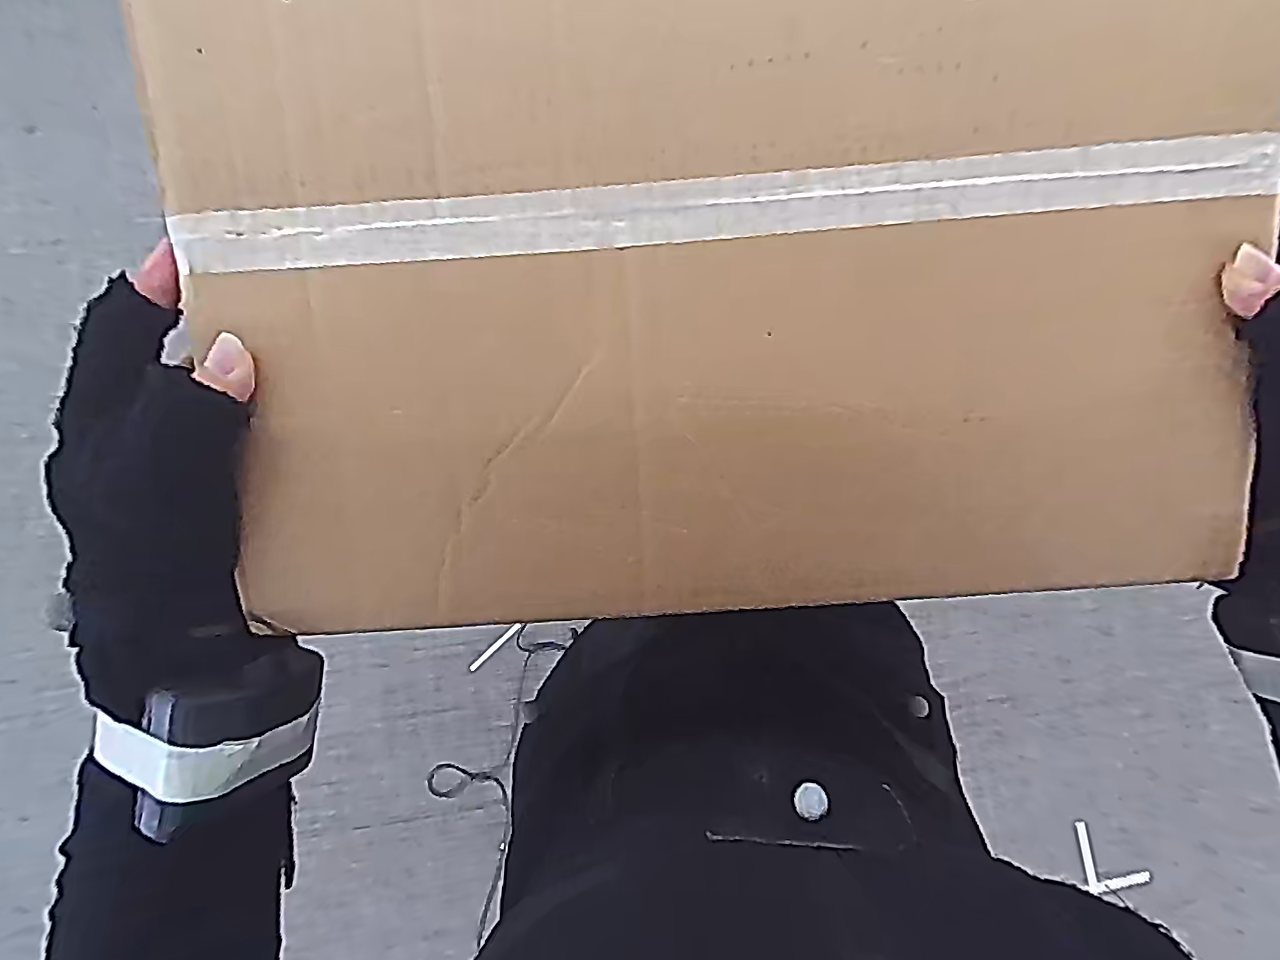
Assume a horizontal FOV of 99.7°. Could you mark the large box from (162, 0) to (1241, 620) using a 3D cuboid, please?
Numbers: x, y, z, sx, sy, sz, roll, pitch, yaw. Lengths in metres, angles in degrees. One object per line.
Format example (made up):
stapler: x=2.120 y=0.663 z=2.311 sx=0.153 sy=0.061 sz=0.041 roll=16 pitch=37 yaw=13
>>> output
large box: x=0.028 y=-0.126 z=0.361 sx=0.408 sy=0.320 sz=0.320 roll=-3 pitch=98 yaw=0
